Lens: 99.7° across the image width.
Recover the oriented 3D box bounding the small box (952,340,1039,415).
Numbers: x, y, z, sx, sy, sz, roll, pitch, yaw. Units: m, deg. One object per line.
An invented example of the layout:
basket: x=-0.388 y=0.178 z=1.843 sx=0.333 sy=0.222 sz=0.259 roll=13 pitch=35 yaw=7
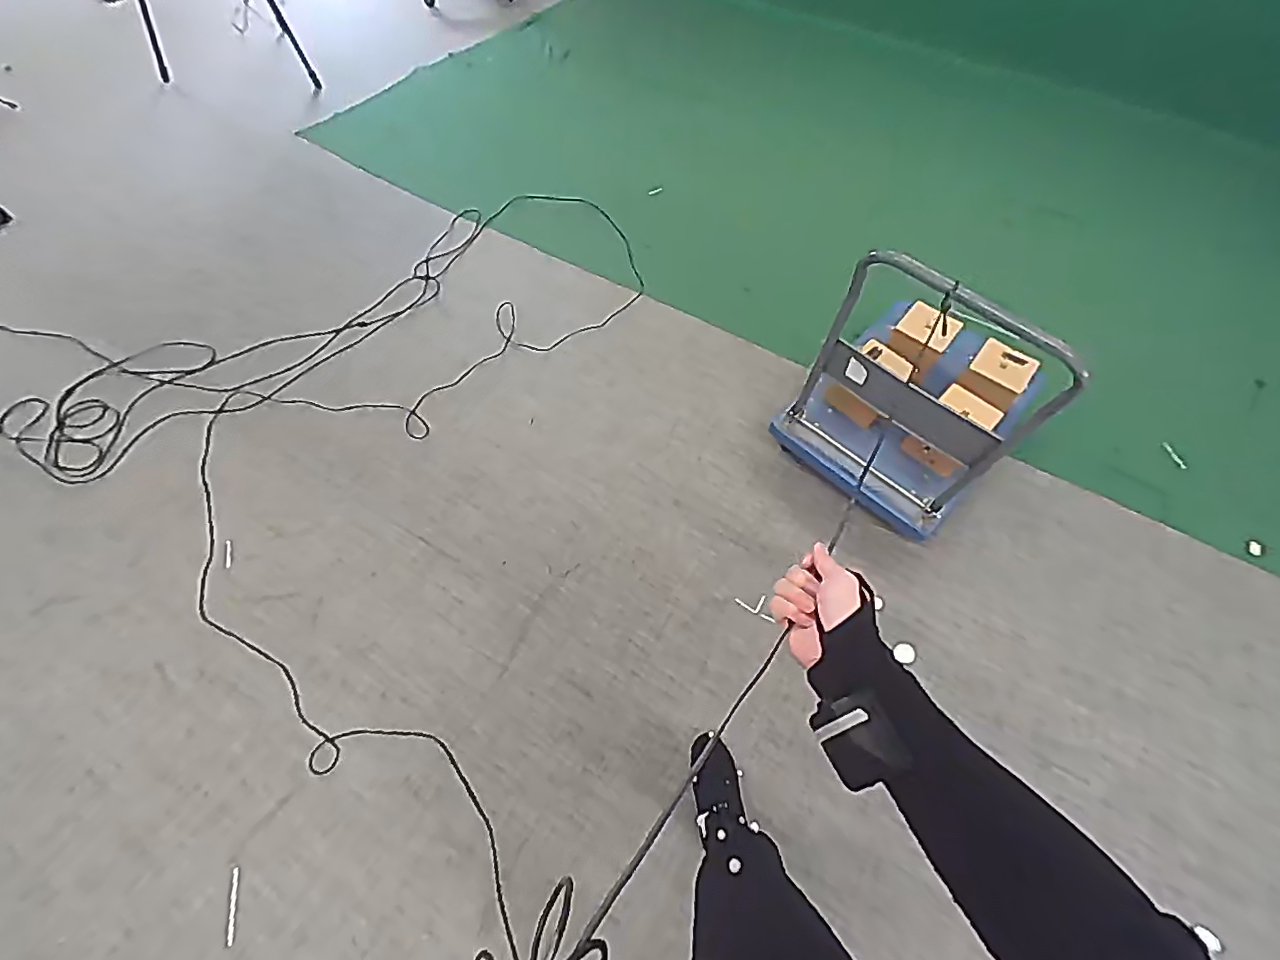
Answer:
small box: x=1.124 y=-0.310 z=1.740 sx=0.168 sy=0.176 sz=0.179 roll=36 pitch=65 yaw=19

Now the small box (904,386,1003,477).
small box: x=0.937 y=-0.145 z=1.635 sx=0.168 sy=0.176 sz=0.179 roll=41 pitch=66 yaw=20

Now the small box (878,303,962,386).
small box: x=0.931 y=-0.451 z=1.817 sx=0.168 sy=0.176 sz=0.179 roll=37 pitch=64 yaw=17
